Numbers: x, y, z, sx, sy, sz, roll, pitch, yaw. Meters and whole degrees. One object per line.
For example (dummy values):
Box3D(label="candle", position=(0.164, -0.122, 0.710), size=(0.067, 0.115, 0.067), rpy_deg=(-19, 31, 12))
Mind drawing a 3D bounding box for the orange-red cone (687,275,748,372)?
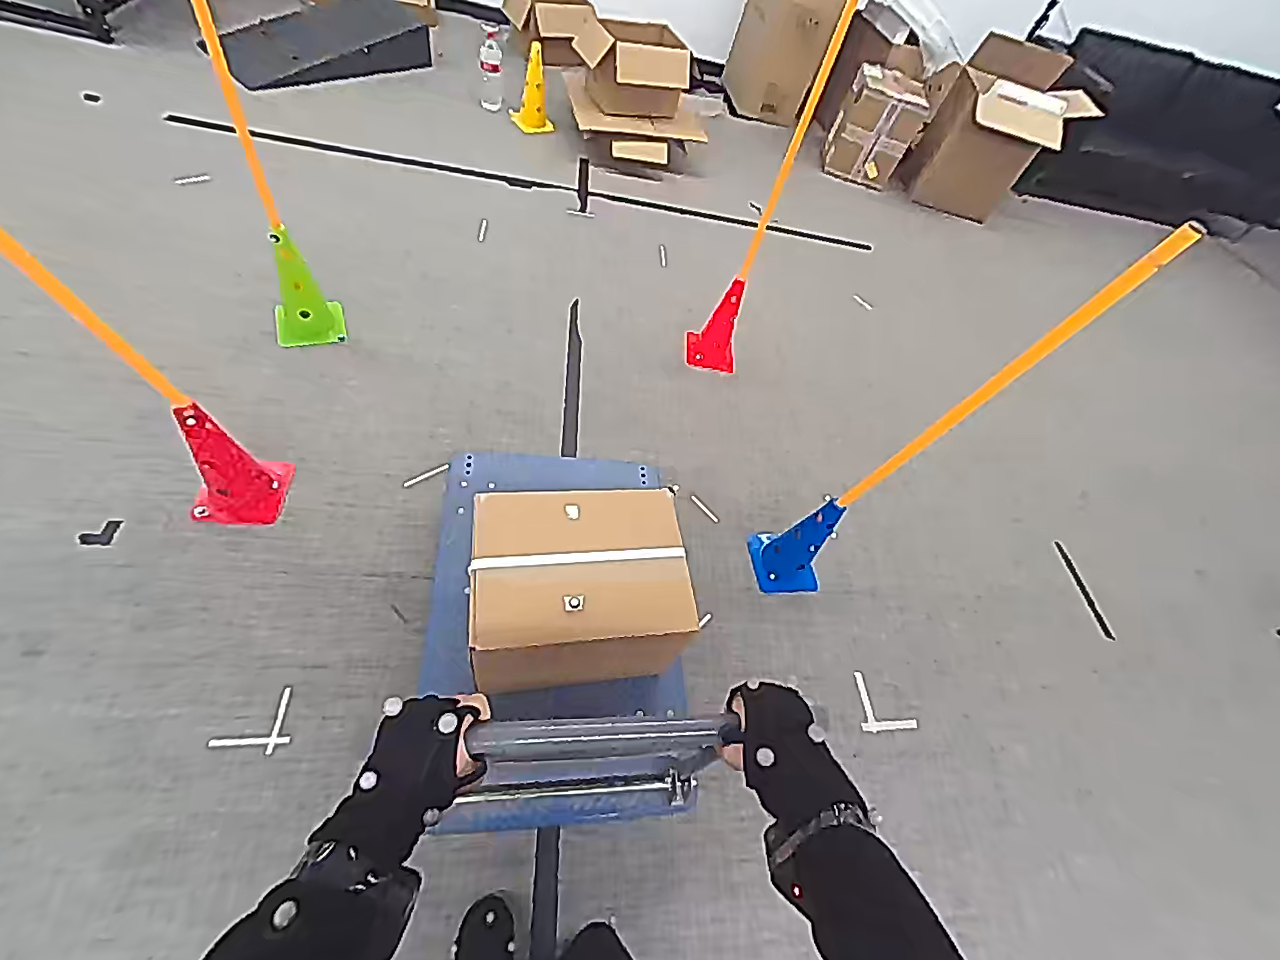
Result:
Box3D(label="orange-red cone", position=(0.326, -0.612, 2.033), size=(0.199, 0.360, 0.198), rpy_deg=(11, 55, -9))

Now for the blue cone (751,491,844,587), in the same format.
Box3D(label="blue cone", position=(0.488, 0.156, 1.570), size=(0.193, 0.380, 0.192), rpy_deg=(2, 55, -14))
